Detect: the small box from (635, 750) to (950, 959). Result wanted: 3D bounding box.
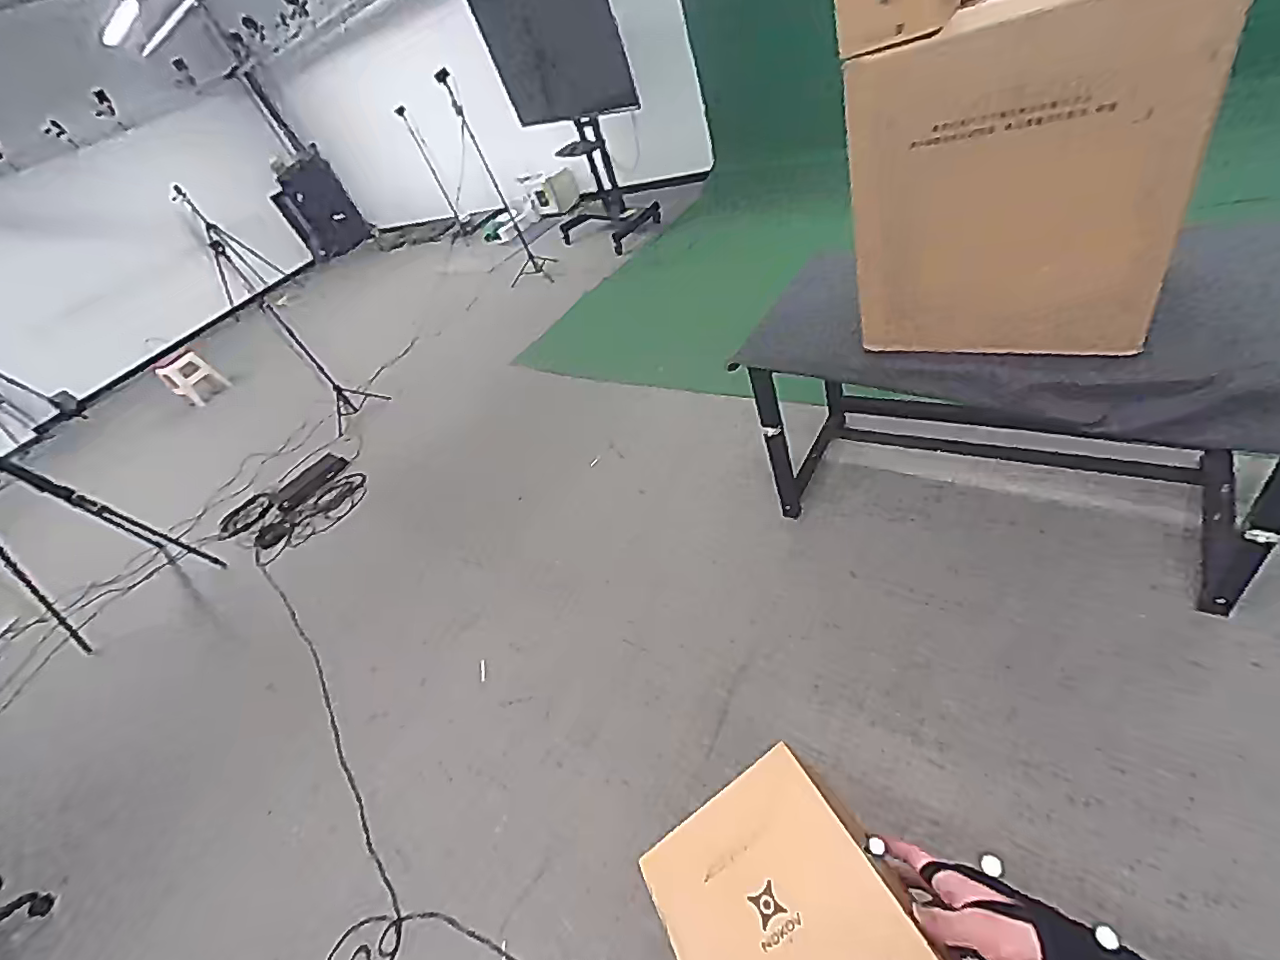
[{"bbox_3d":[0.131,0.371,0.458,0.168,0.176,0.179,-40,41,0],"label":"small box"}]

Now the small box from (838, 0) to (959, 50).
[{"bbox_3d":[0.446,-0.874,0.924,0.168,0.176,0.179,11,53,37],"label":"small box"}]
